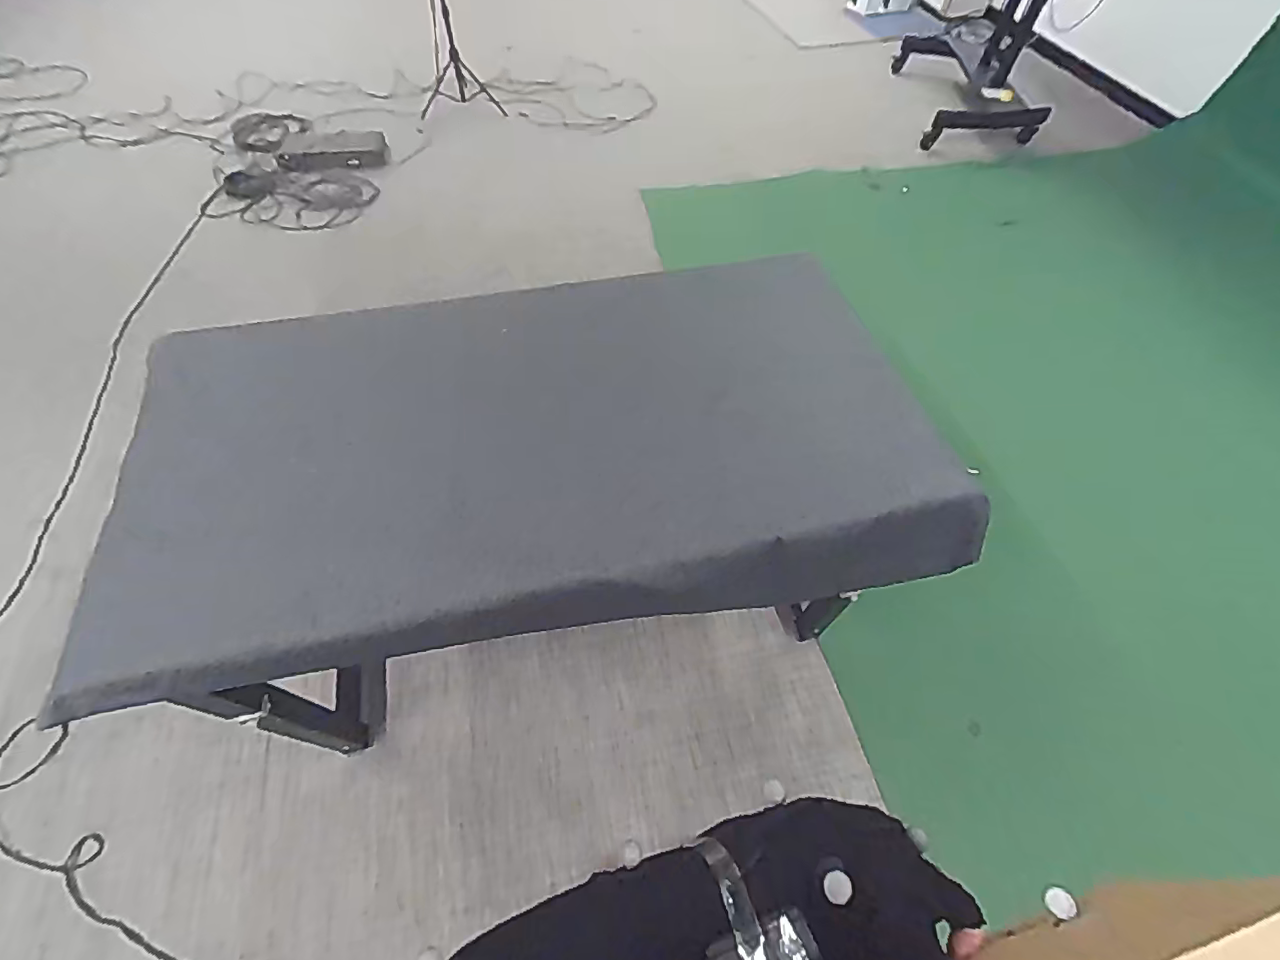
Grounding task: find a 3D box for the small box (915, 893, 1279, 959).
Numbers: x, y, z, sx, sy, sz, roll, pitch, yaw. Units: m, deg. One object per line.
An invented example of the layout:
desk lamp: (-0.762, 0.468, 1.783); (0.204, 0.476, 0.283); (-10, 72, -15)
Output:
small box: (0.280, 0.331, 0.270); (0.168, 0.176, 0.179); (-10, 52, -10)
